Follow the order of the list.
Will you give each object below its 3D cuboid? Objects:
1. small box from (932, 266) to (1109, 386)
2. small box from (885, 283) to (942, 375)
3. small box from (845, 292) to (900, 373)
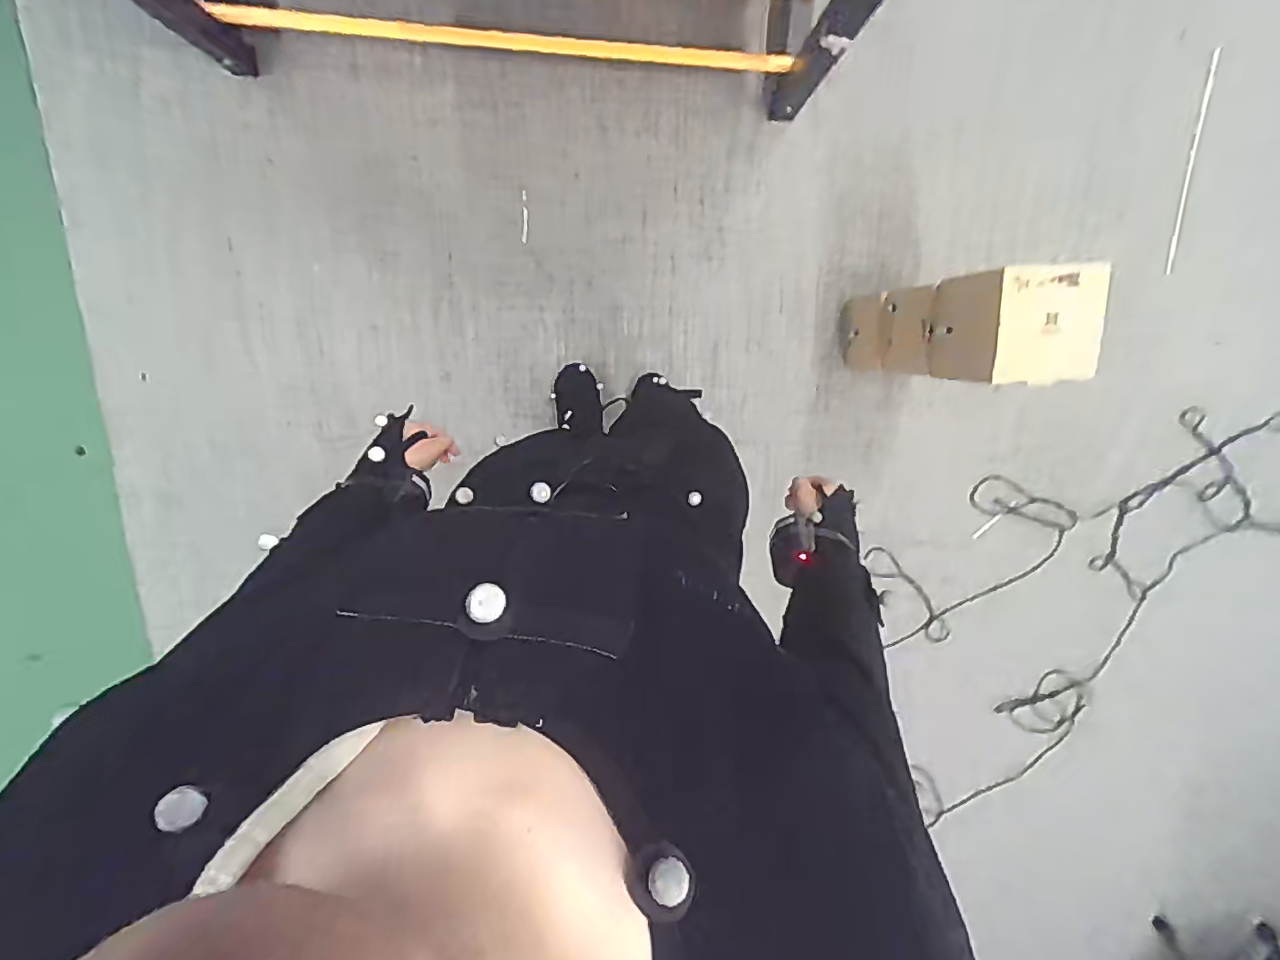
[{"bbox_3d":[0.615,-0.254,0.900,0.168,0.176,0.179,-2,105,-2],"label":"small box"},{"bbox_3d":[0.603,-0.292,1.059,0.179,0.176,0.168,-3,104,-3],"label":"small box"},{"bbox_3d":[0.584,-0.333,1.217,0.179,0.176,0.168,-3,103,-1],"label":"small box"}]
